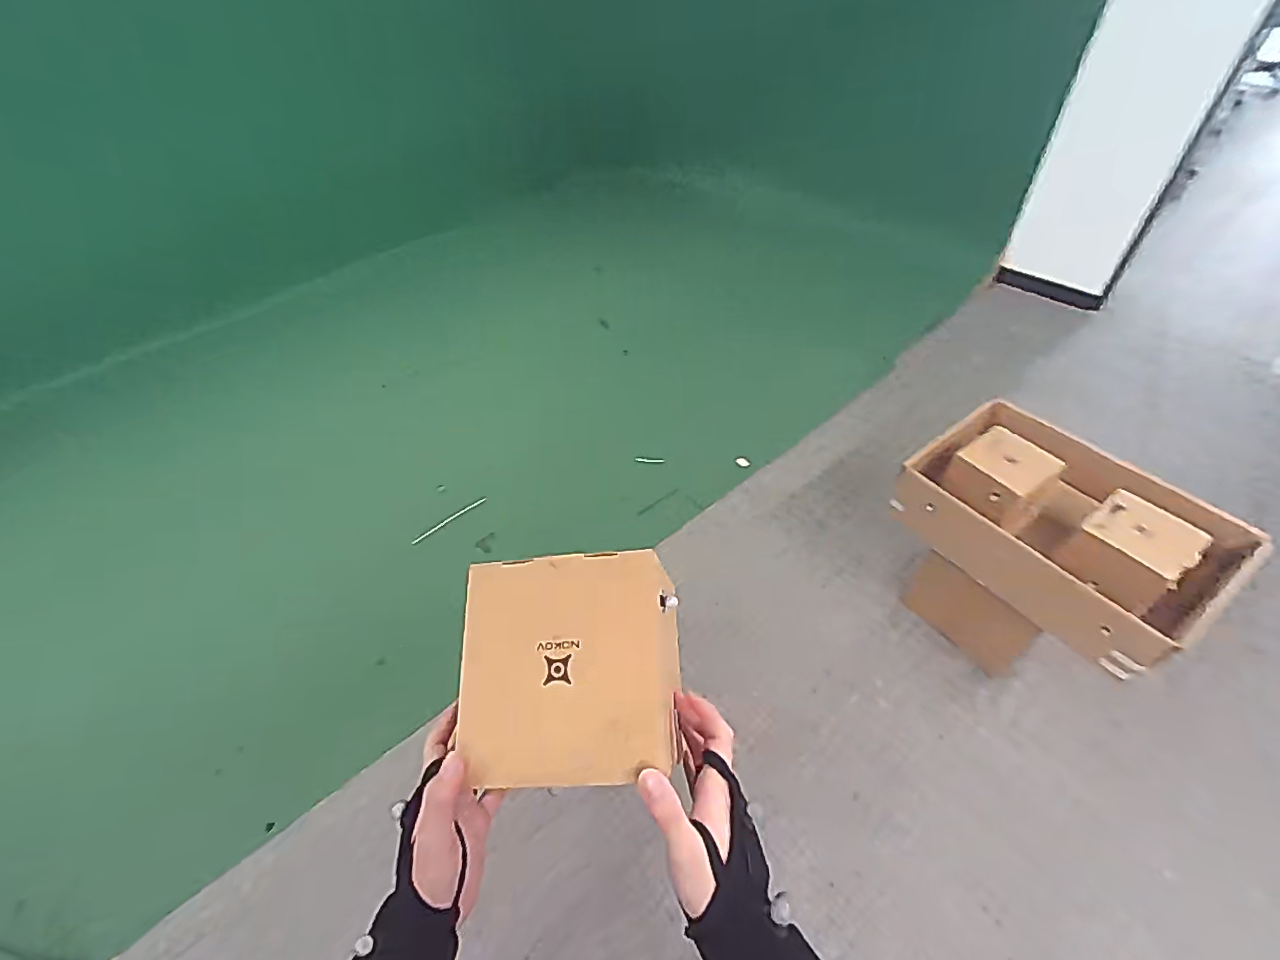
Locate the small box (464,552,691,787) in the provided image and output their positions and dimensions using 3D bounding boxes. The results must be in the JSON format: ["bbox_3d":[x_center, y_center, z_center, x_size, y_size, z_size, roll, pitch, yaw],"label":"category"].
[{"bbox_3d":[-0.043,0.176,0.506,0.168,0.176,0.179,-5,66,8],"label":"small box"}]
